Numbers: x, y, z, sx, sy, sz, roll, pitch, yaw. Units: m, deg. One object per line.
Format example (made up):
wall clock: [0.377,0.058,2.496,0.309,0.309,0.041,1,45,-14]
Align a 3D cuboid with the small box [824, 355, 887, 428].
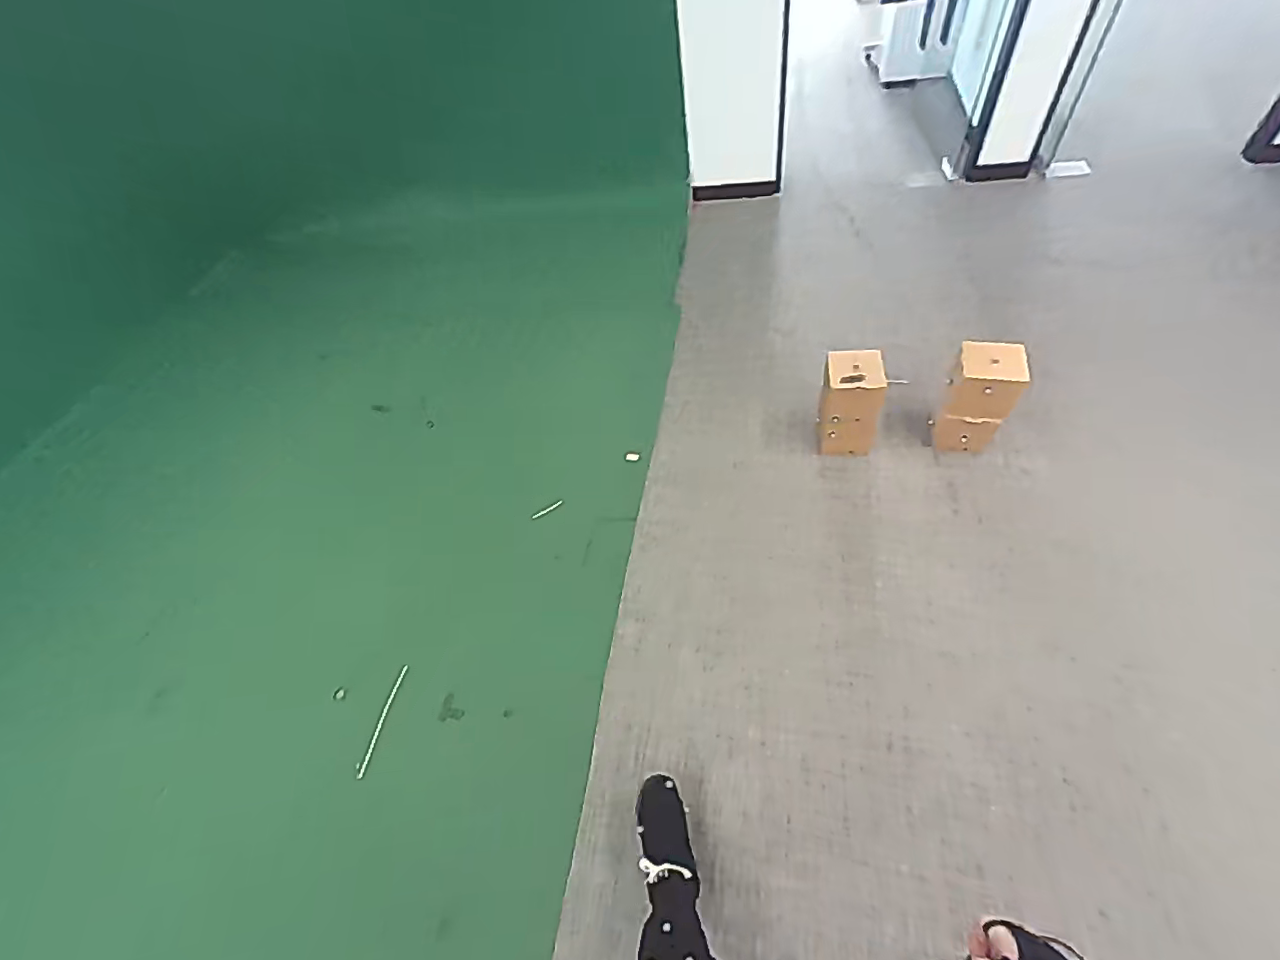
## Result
small box: [0.699,-0.285,1.766,0.168,0.176,0.179,1,53,12]

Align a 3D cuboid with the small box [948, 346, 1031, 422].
small box: [1.089,-0.299,1.698,0.179,0.176,0.168,7,56,17]

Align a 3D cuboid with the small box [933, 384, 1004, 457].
small box: [1.104,-0.198,1.826,0.168,0.176,0.179,10,58,17]
